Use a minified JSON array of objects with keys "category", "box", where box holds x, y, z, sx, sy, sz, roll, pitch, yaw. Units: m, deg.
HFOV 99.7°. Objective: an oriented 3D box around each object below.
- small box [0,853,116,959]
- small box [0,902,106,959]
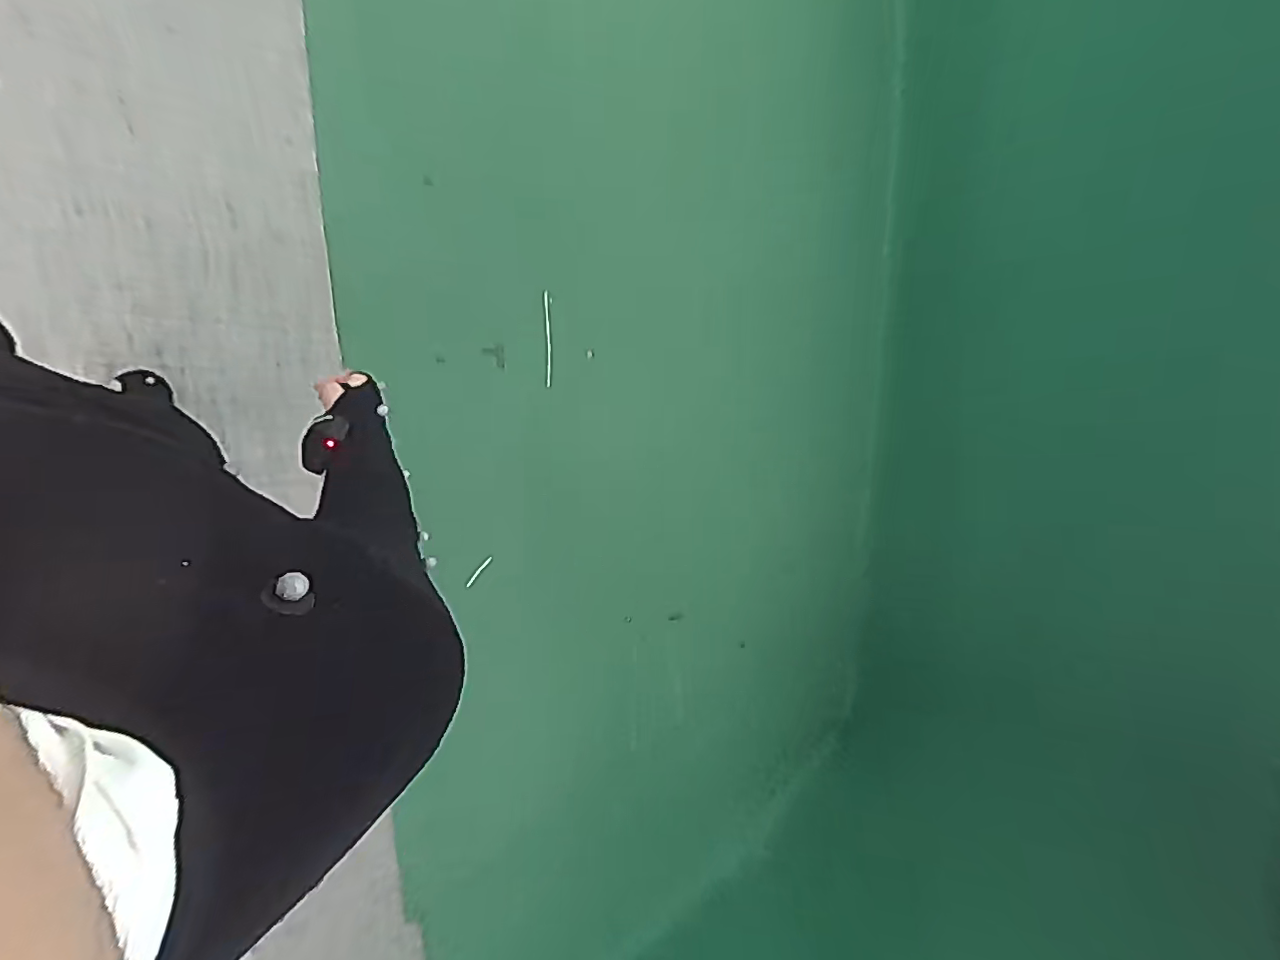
[{"category":"small box","box":[-1.137,0.865,1.036,0.168,0.176,0.179,-13,108,-40]},{"category":"small box","box":[-1.032,0.878,0.910,0.179,0.176,0.168,-12,105,-40]}]
